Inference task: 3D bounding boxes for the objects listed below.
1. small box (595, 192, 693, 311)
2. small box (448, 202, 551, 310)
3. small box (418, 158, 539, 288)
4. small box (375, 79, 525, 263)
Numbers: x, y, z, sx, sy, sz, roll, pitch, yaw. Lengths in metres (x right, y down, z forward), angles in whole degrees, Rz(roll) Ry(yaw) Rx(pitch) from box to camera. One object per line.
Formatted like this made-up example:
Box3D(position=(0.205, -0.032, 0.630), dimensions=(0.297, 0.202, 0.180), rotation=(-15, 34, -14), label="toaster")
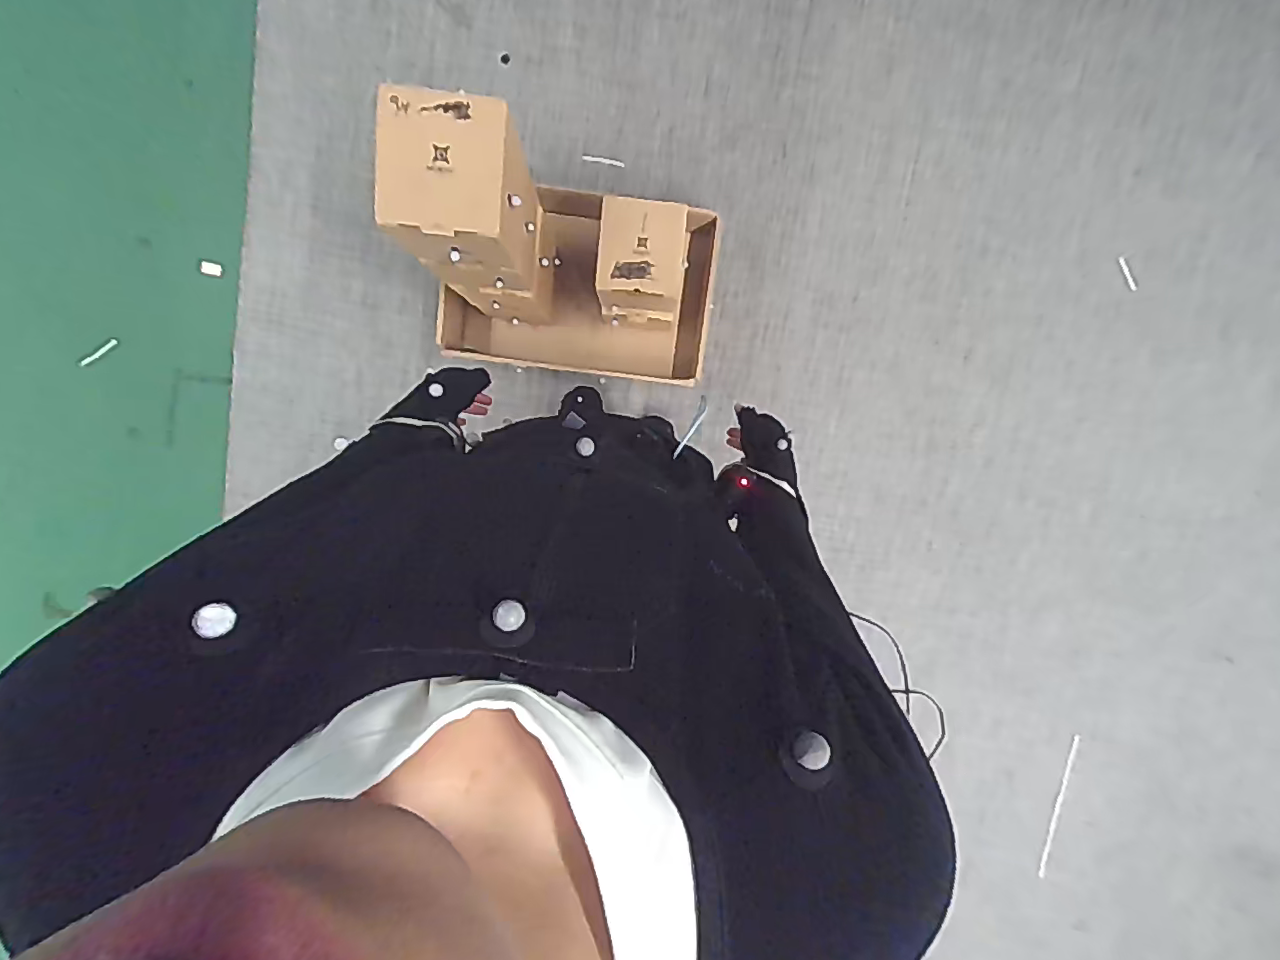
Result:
Box3D(position=(0.005, -0.456, 1.110), dimensions=(0.168, 0.176, 0.179), rotation=(9, 98, -3), label="small box")
Box3D(position=(-0.279, -0.462, 1.107), dimensions=(0.168, 0.176, 0.179), rotation=(7, 97, -4), label="small box")
Box3D(position=(-0.273, -0.446, 0.944), dimensions=(0.168, 0.176, 0.179), rotation=(6, 97, -4), label="small box")
Box3D(position=(-0.264, -0.428, 0.782), dimensions=(0.168, 0.176, 0.179), rotation=(5, 98, -5), label="small box")
